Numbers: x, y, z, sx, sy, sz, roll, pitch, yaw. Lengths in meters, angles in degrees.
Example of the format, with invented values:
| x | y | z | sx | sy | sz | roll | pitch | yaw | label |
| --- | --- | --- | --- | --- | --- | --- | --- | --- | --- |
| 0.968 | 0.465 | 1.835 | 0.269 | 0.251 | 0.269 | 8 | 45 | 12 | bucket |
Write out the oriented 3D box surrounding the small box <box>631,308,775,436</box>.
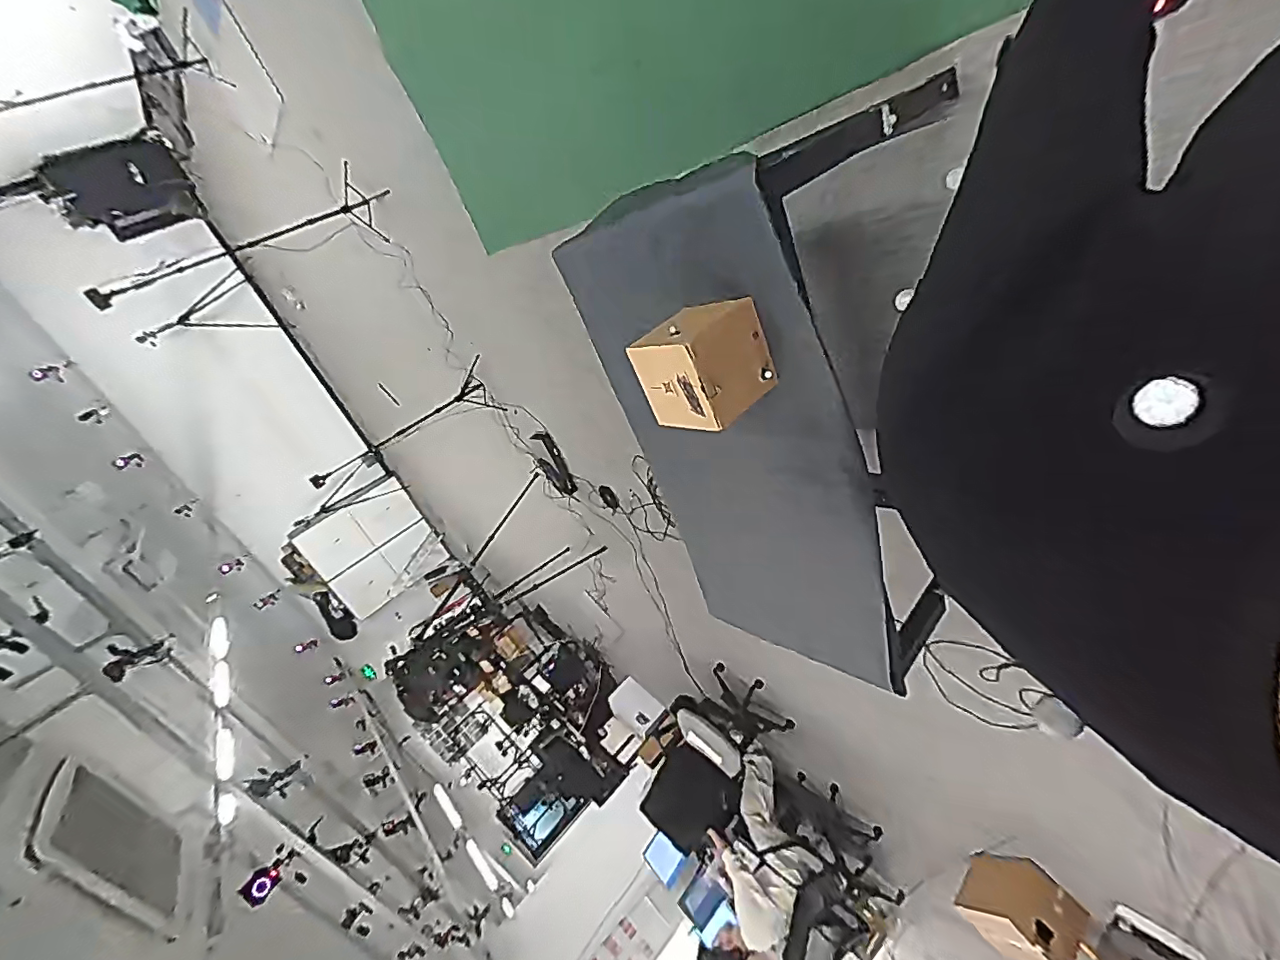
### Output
| x | y | z | sx | sy | sz | roll | pitch | yaw | label |
| --- | --- | --- | --- | --- | --- | --- | --- | --- | --- |
| 0.121 | -0.197 | 0.978 | 0.179 | 0.176 | 0.168 | 14 | 137 | 53 | small box |
